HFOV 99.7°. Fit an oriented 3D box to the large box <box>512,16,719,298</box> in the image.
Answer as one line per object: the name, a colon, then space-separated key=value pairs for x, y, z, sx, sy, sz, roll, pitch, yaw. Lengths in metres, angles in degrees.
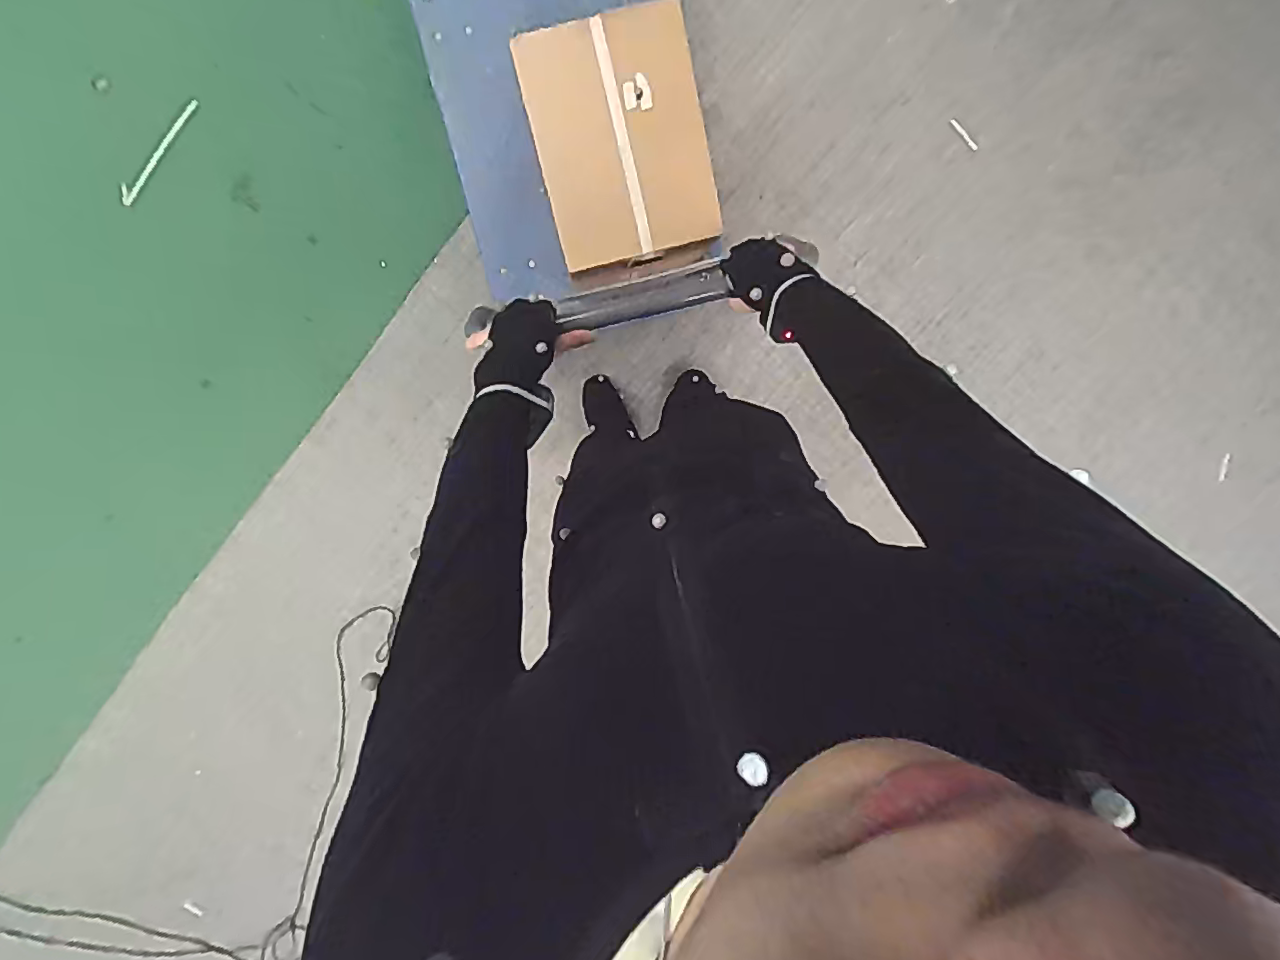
large box: x=-0.047 y=-0.650 z=1.168 sx=0.320 sy=0.320 sz=0.408 roll=-14 pitch=102 yaw=-2
